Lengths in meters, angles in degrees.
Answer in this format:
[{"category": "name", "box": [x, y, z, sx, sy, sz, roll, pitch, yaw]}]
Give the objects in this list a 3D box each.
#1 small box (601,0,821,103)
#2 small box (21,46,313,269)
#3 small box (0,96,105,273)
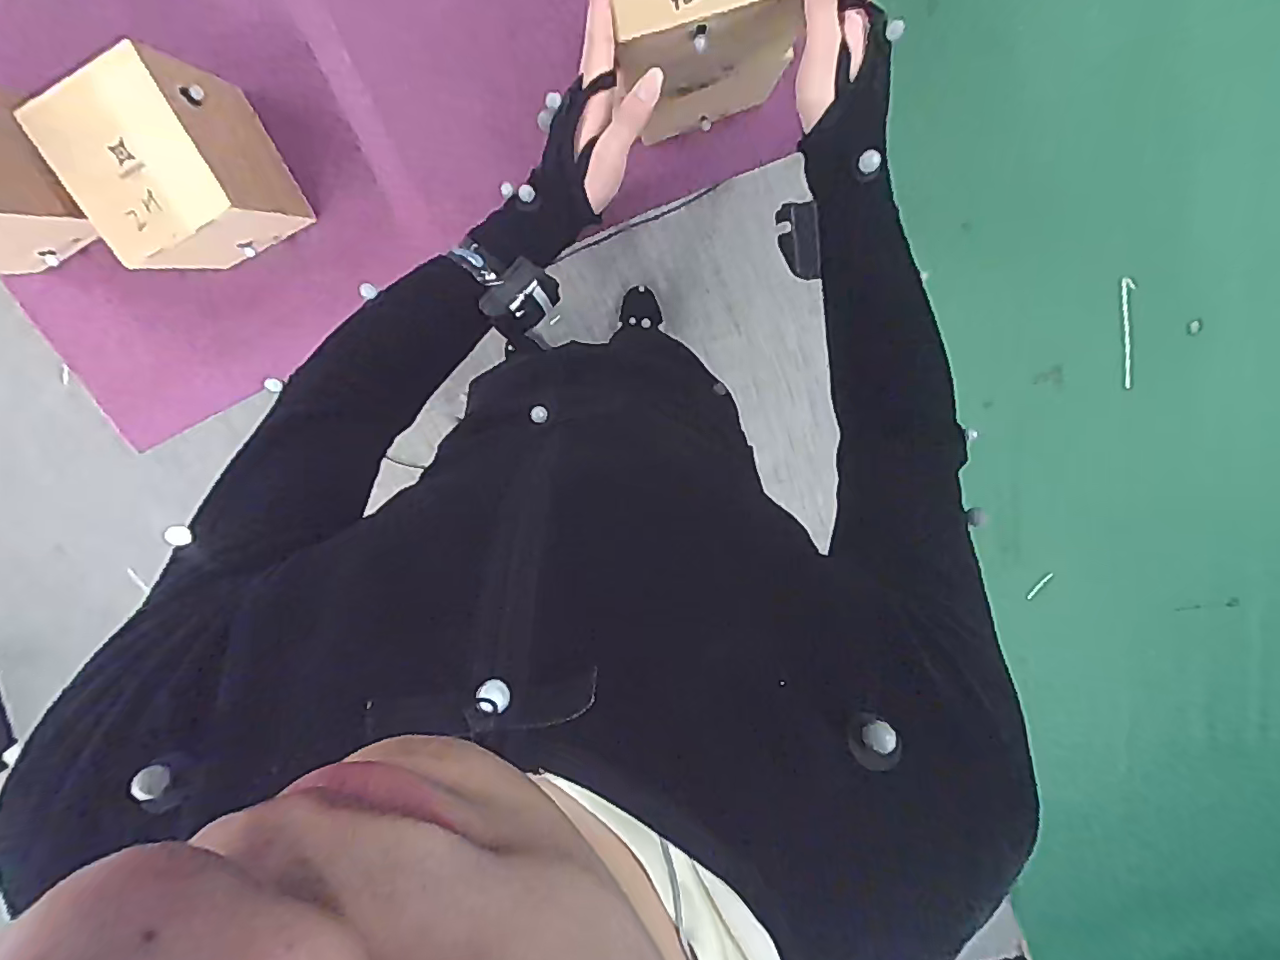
[{"category": "small box", "box": [0.042, -0.450, 0.444, 0.168, 0.176, 0.179, -11, 112, 6]}, {"category": "small box", "box": [-0.565, -0.380, 0.676, 0.168, 0.176, 0.179, -21, 110, 10]}, {"category": "small box", "box": [-0.845, -0.375, 0.684, 0.168, 0.176, 0.179, -23, 110, 10]}]
